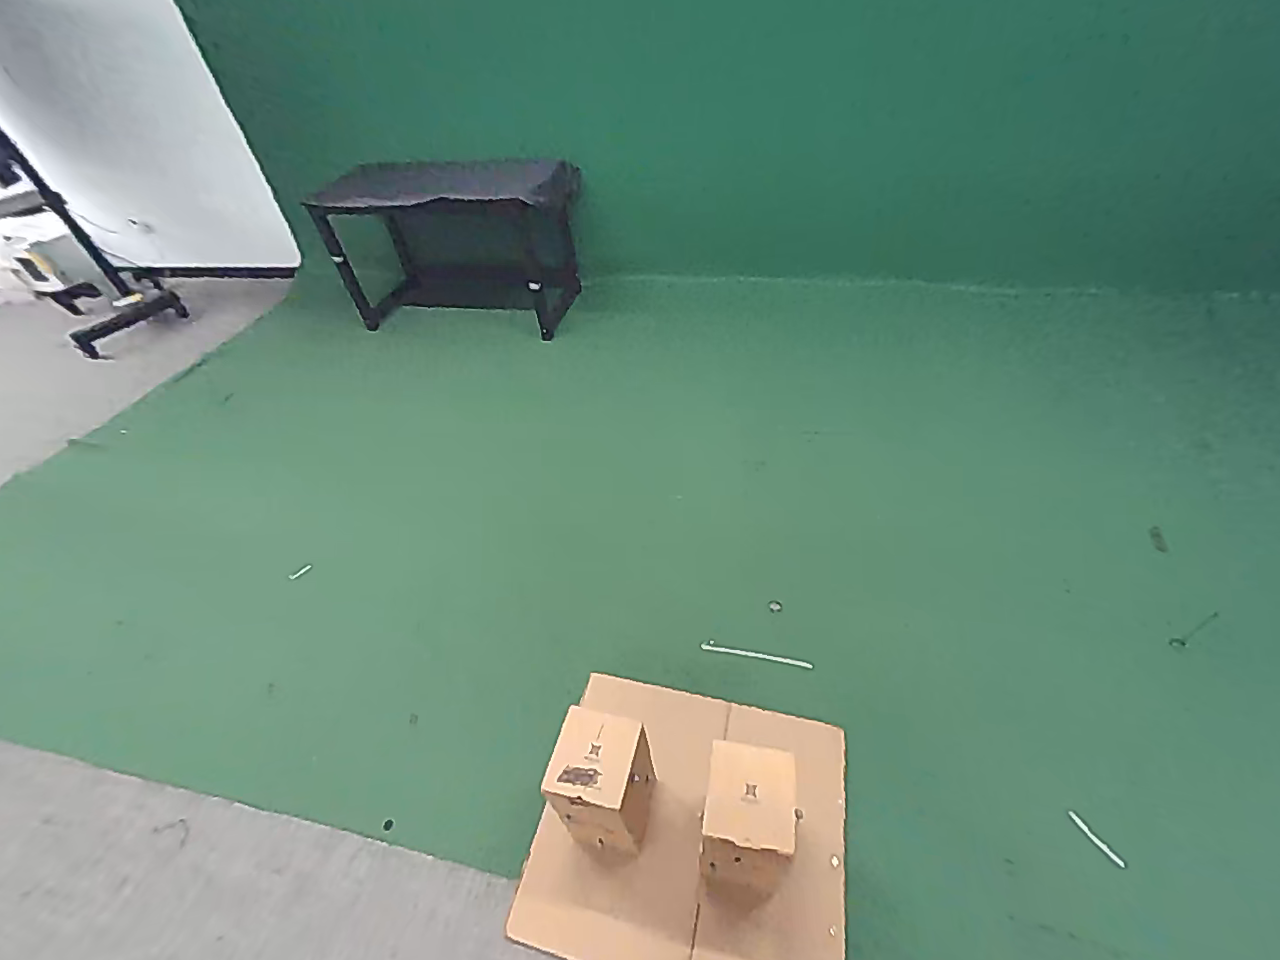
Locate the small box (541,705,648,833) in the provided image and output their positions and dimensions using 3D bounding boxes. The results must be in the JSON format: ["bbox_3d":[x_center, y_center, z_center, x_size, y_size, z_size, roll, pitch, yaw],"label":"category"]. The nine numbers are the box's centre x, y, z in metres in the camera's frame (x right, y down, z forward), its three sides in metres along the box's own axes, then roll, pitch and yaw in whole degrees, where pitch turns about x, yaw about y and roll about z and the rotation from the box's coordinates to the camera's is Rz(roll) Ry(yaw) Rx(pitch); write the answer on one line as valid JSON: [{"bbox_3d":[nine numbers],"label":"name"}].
[{"bbox_3d":[-0.084,0.611,1.139,0.168,0.176,0.179,7,44,15],"label":"small box"}]

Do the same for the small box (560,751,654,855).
[{"bbox_3d":[-0.067,0.731,1.250,0.168,0.176,0.179,5,45,14],"label":"small box"}]

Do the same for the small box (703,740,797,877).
[{"bbox_3d":[0.216,0.648,1.067,0.168,0.176,0.179,5,45,12],"label":"small box"}]
